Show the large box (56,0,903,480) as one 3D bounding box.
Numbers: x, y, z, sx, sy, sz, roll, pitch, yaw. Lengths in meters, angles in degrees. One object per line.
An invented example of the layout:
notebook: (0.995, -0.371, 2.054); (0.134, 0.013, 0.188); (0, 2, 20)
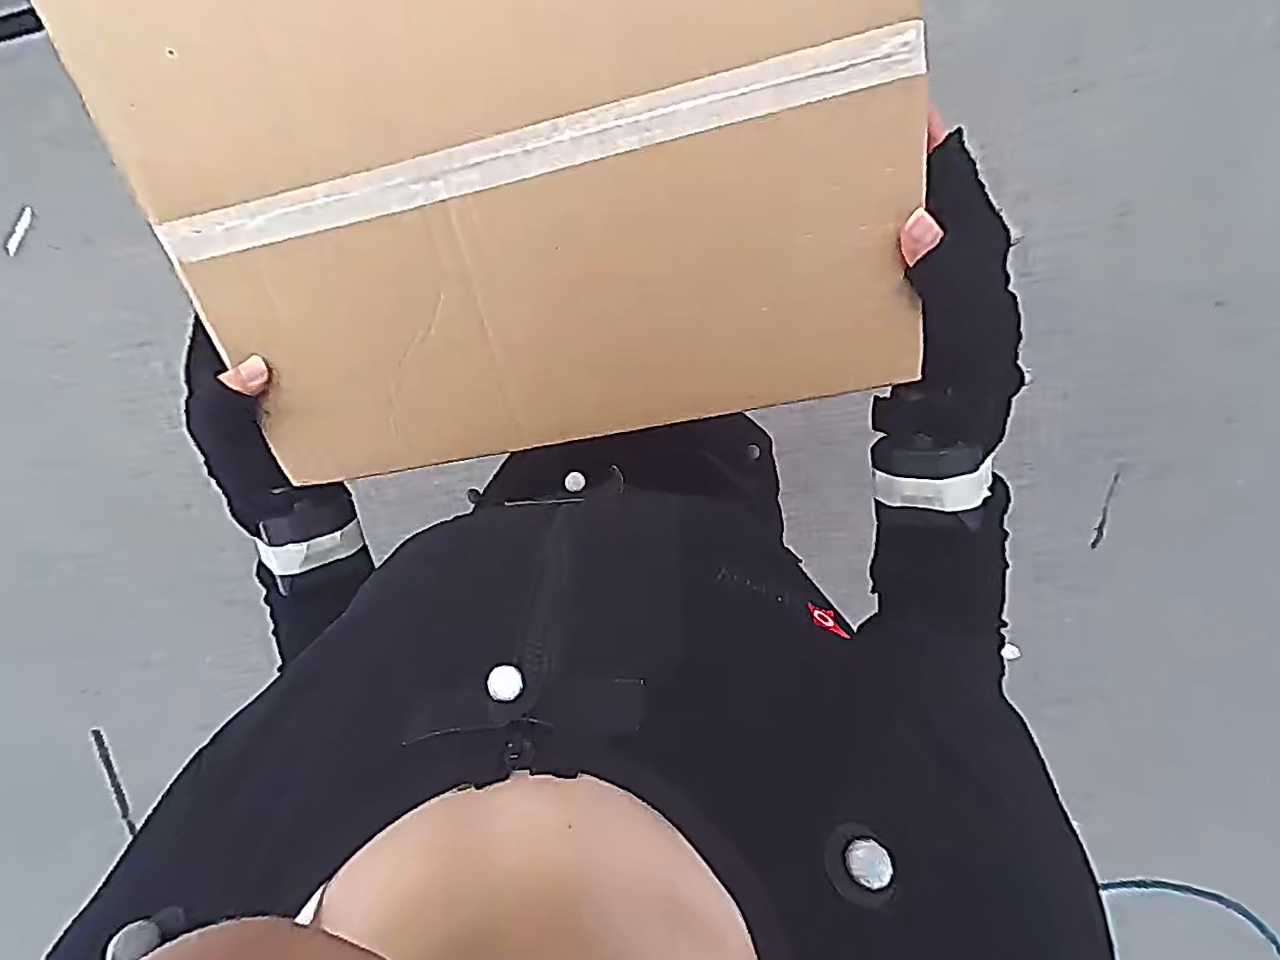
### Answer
large box: (-0.059, -0.233, 0.419); (0.408, 0.320, 0.320); (-9, 114, 9)
